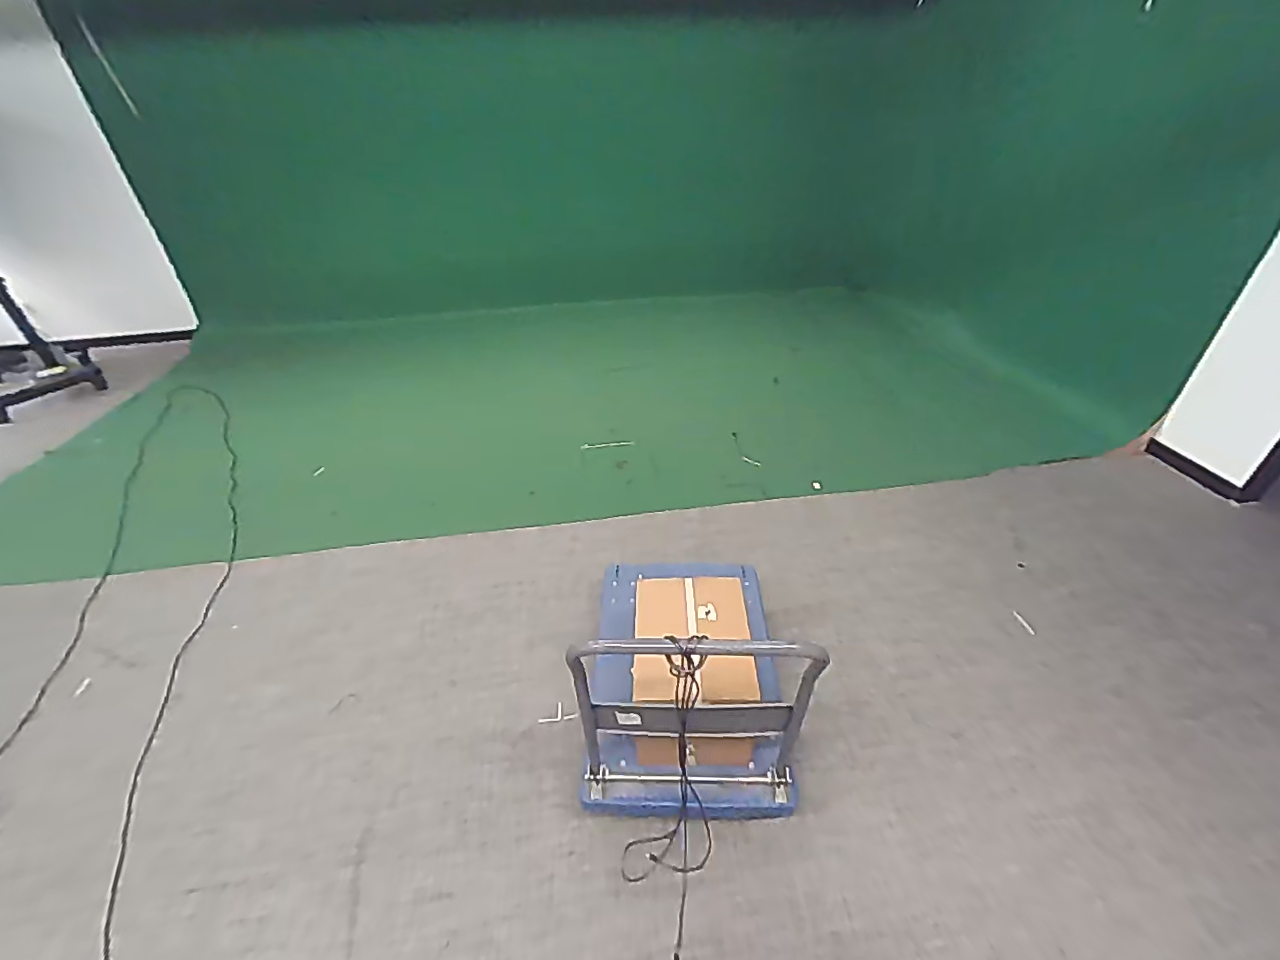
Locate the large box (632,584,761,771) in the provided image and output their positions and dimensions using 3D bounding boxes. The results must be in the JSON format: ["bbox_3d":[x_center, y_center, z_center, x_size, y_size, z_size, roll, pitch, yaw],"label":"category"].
[{"bbox_3d":[0.145,0.551,1.533,0.320,0.320,0.408,-1,35,2],"label":"large box"}]
